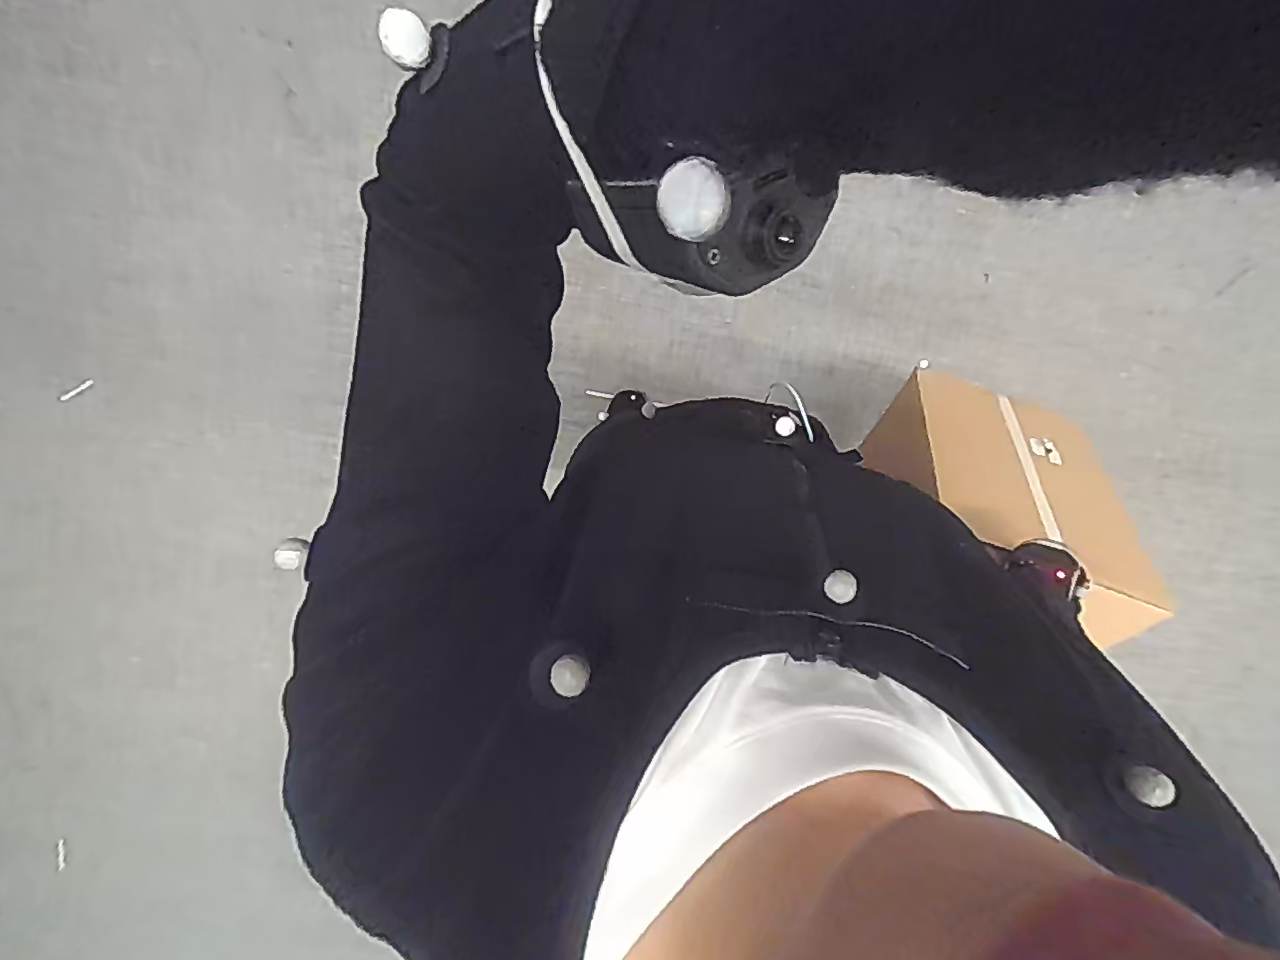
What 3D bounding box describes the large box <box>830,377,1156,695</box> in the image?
[{"bbox_3d":[0.548,0.091,0.952,0.320,0.408,0.320,21,135,1],"label":"large box"}]
